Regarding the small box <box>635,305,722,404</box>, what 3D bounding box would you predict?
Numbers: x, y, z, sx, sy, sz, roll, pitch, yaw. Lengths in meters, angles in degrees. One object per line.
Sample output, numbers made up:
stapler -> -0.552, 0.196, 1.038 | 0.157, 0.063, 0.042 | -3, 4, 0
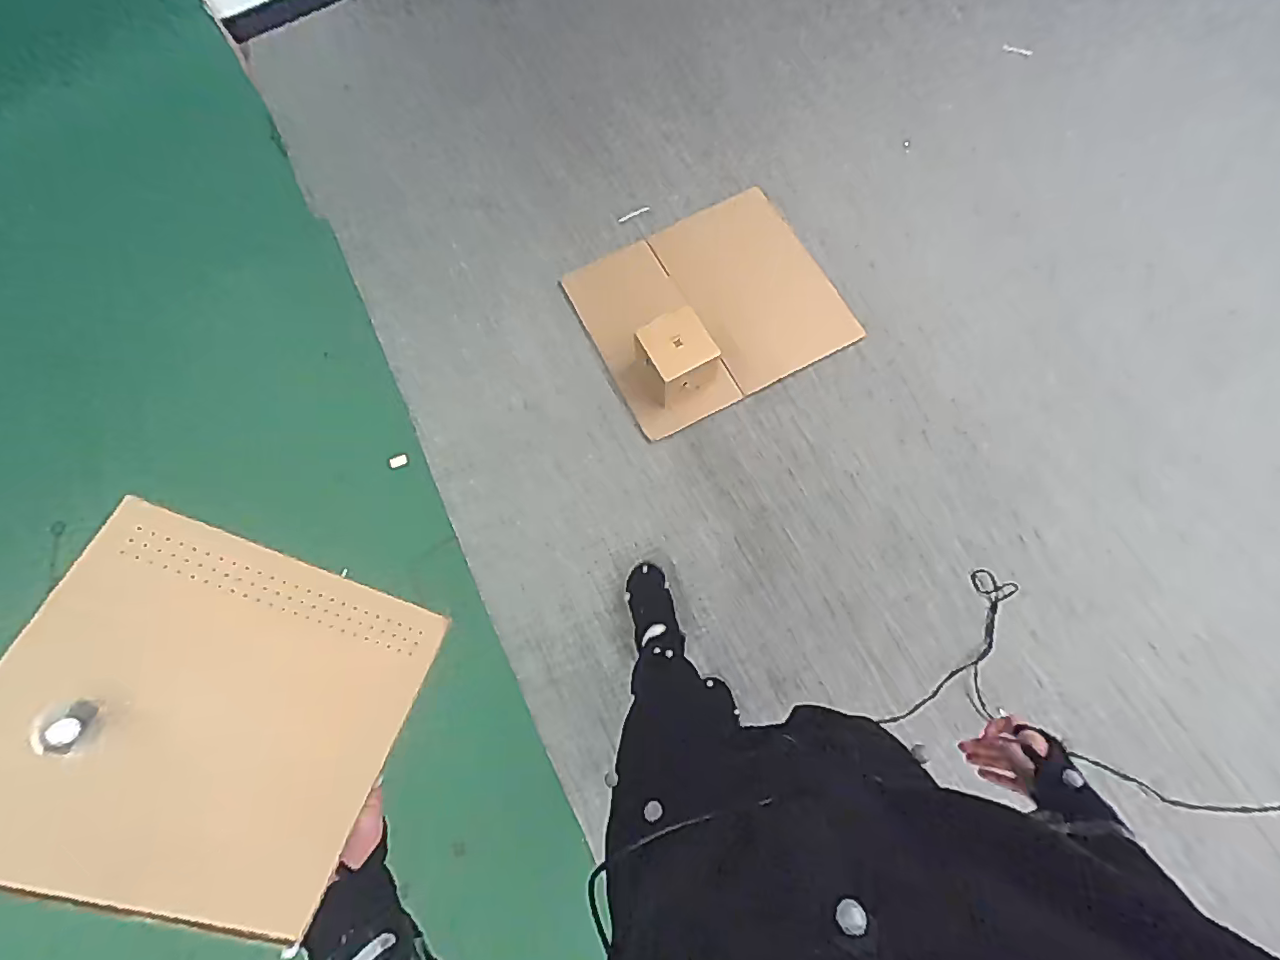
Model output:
small box -> 0.102, -0.326, 1.450 | 0.168, 0.176, 0.179 | -28, 74, -5
